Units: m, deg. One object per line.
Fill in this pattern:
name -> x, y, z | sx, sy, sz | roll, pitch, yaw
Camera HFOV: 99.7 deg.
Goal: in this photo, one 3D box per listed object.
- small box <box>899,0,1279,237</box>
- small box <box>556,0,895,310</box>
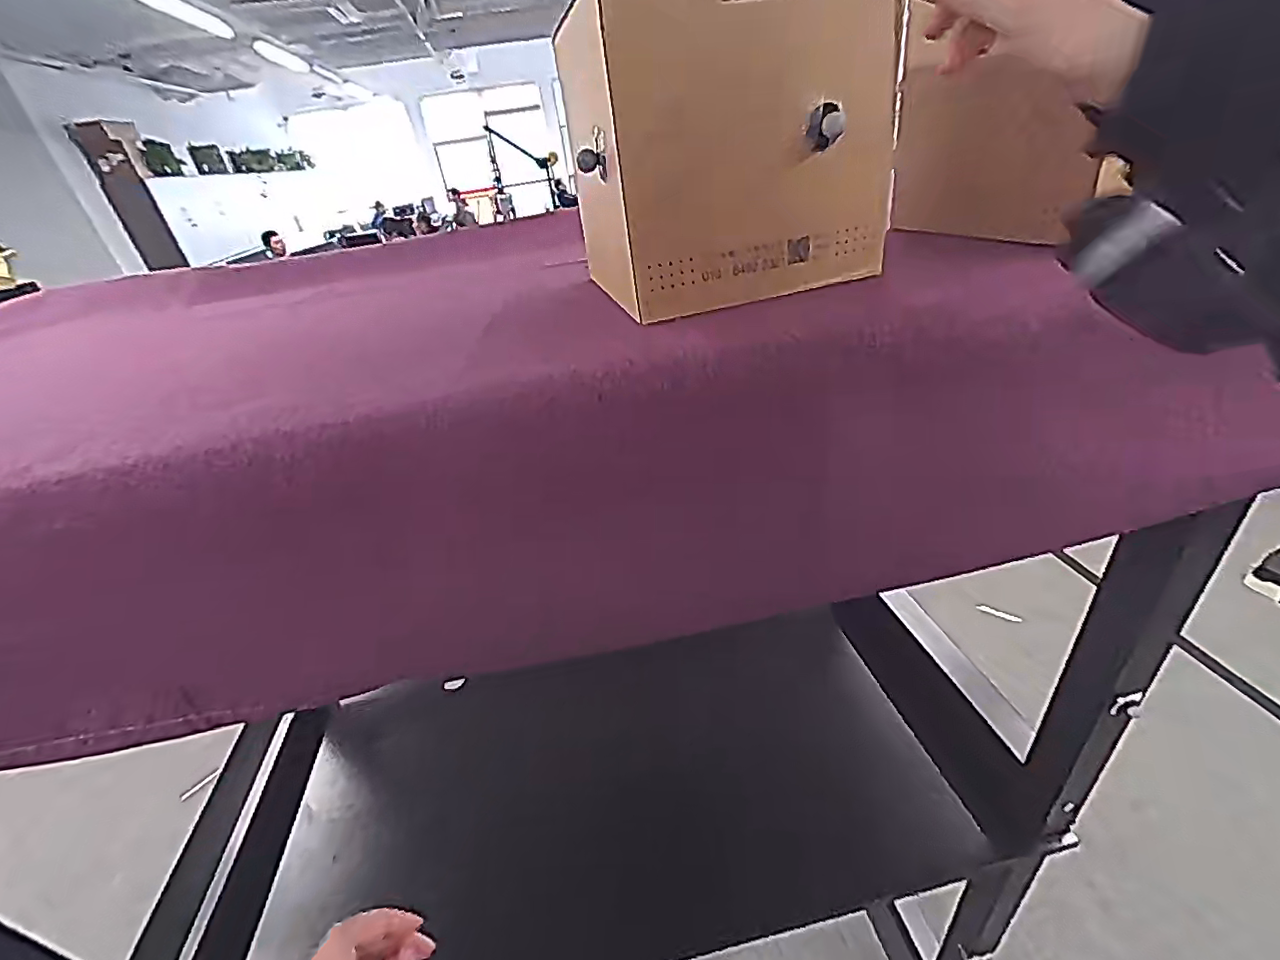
small box -> 0.308, -0.274, 0.376 | 0.168, 0.176, 0.179 | -16, 31, -11
small box -> 0.049, -0.223, 0.366 | 0.168, 0.176, 0.179 | -14, 31, -9
